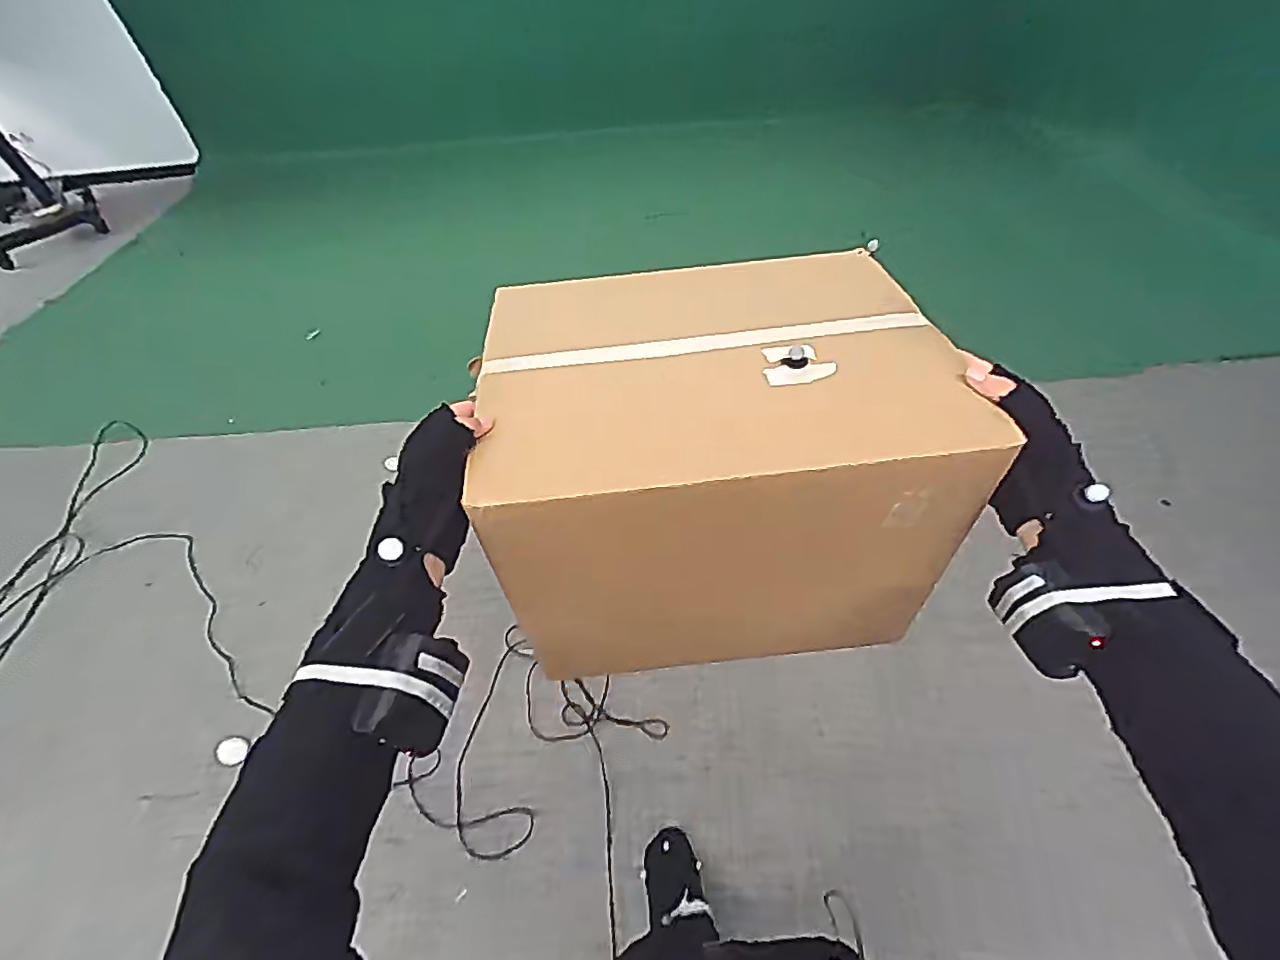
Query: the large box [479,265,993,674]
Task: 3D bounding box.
[{"bbox_3d":[0.065,-0.011,0.612,0.408,0.320,0.320,-6,48,-2],"label":"large box"}]
